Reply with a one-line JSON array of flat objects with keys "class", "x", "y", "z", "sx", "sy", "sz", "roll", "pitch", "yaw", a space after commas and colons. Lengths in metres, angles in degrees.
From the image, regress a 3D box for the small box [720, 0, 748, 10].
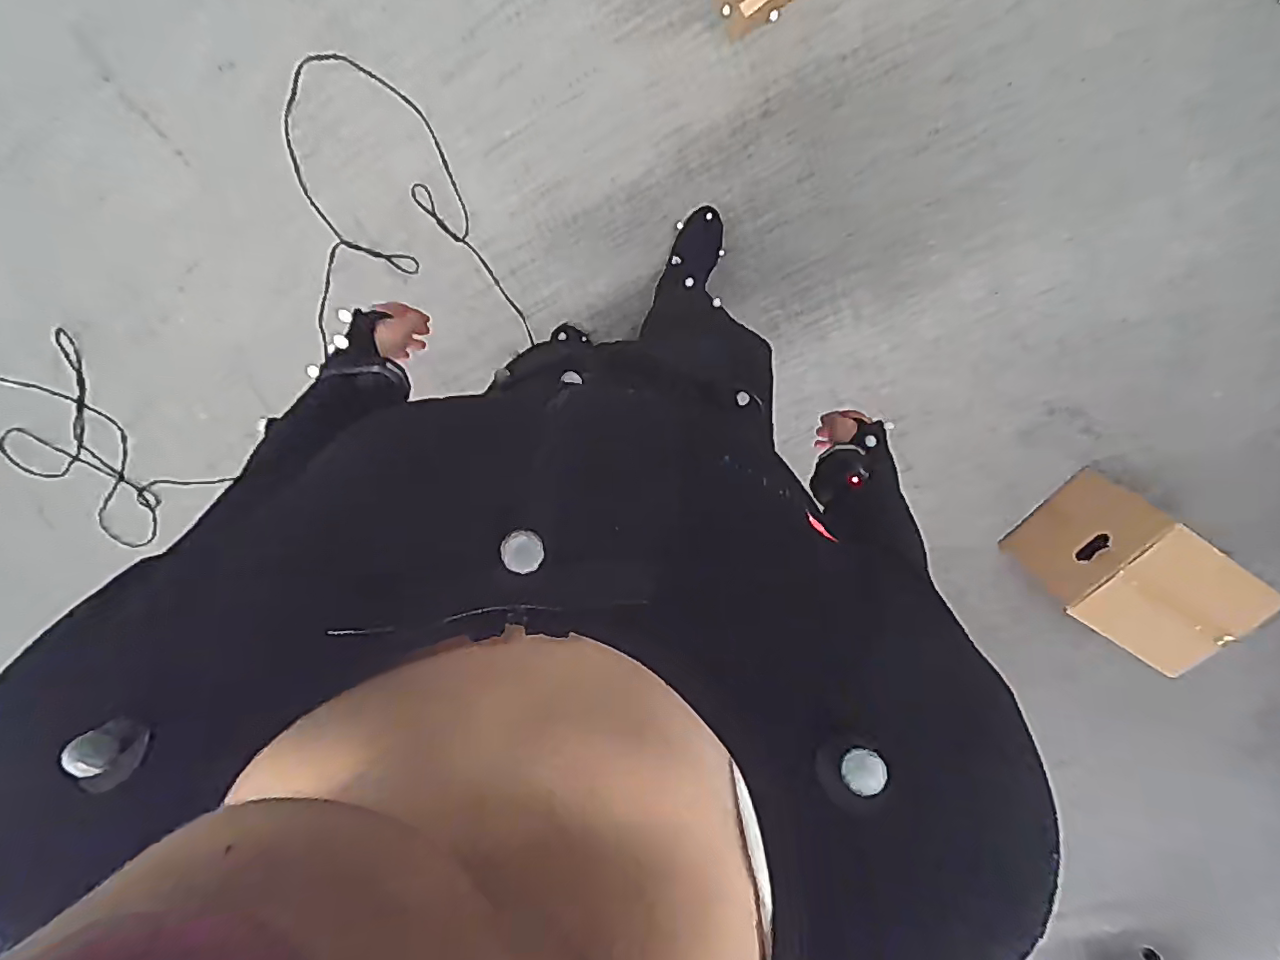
[{"class": "small box", "x": 0.191, "y": -0.902, "z": 0.851, "sx": 0.179, "sy": 0.176, "sz": 0.168, "roll": -24, "pitch": 112, "yaw": 14}]
